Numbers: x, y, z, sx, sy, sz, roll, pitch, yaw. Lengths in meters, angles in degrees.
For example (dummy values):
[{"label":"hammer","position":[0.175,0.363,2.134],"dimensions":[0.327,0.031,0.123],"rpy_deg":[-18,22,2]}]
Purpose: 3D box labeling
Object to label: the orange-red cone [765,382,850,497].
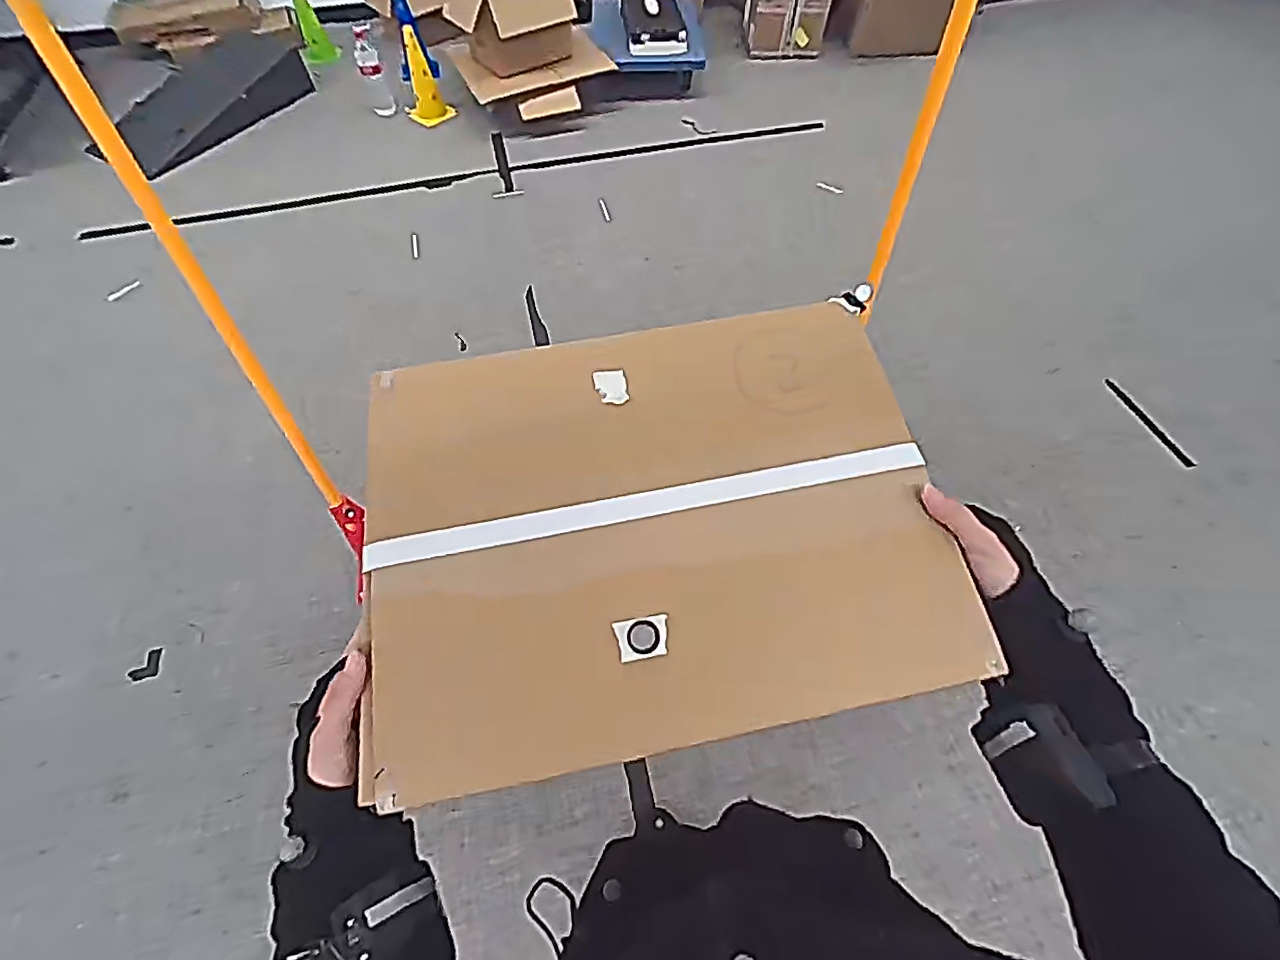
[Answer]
[{"label":"orange-red cone","position":[0.503,-0.141,1.493],"dimensions":[0.199,0.360,0.198],"rpy_deg":[-20,61,-13]}]
